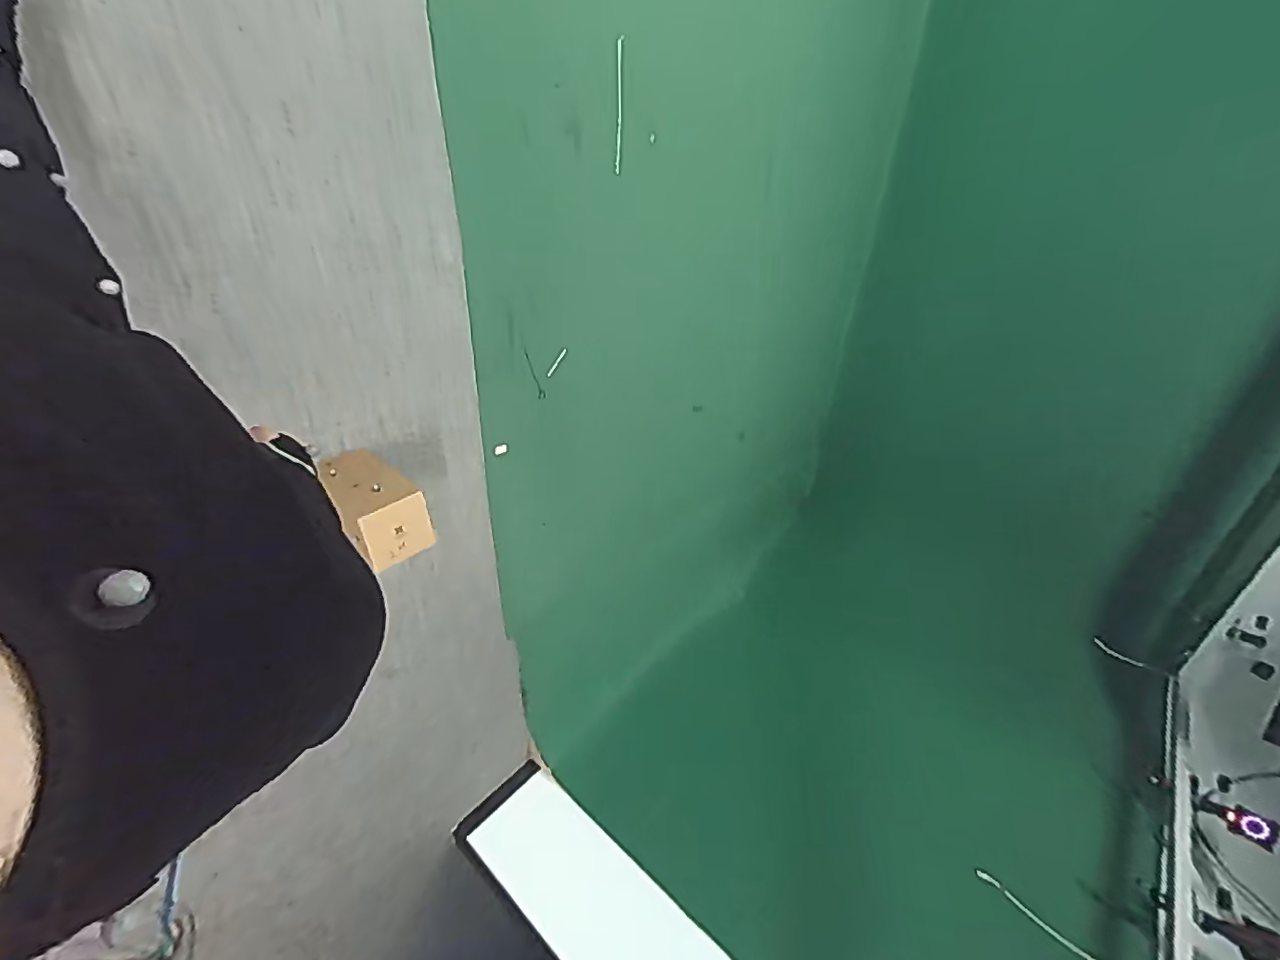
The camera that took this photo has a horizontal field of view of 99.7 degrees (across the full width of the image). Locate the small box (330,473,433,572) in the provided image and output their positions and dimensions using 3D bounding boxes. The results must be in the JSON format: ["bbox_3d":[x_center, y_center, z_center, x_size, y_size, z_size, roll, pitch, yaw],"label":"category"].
[{"bbox_3d":[-0.669,0.099,1.398,0.168,0.176,0.179,-30,133,-38],"label":"small box"}]

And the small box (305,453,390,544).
[{"bbox_3d":[-0.792,0.041,1.491,0.168,0.176,0.179,-29,133,-39],"label":"small box"}]
